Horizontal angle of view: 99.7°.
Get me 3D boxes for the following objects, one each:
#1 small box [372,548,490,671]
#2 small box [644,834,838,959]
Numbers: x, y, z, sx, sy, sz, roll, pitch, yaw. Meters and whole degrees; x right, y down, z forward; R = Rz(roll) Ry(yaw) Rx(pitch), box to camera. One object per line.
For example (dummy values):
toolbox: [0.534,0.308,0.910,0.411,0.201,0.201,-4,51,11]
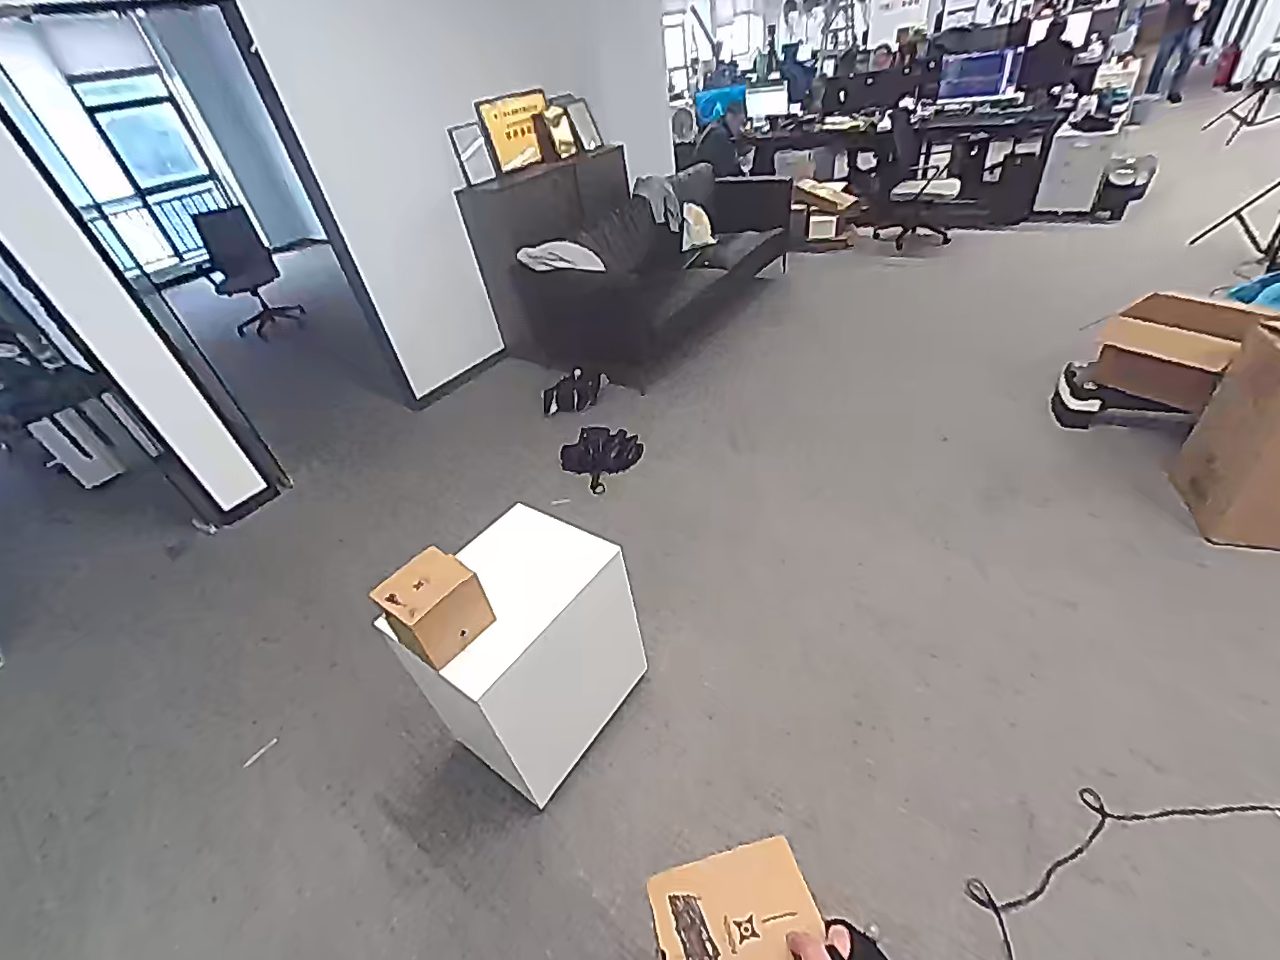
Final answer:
small box: [-0.464,0.292,1.234,0.168,0.176,0.179,20,45,33]
small box: [0.115,0.540,0.587,0.179,0.176,0.168,-13,20,-5]
